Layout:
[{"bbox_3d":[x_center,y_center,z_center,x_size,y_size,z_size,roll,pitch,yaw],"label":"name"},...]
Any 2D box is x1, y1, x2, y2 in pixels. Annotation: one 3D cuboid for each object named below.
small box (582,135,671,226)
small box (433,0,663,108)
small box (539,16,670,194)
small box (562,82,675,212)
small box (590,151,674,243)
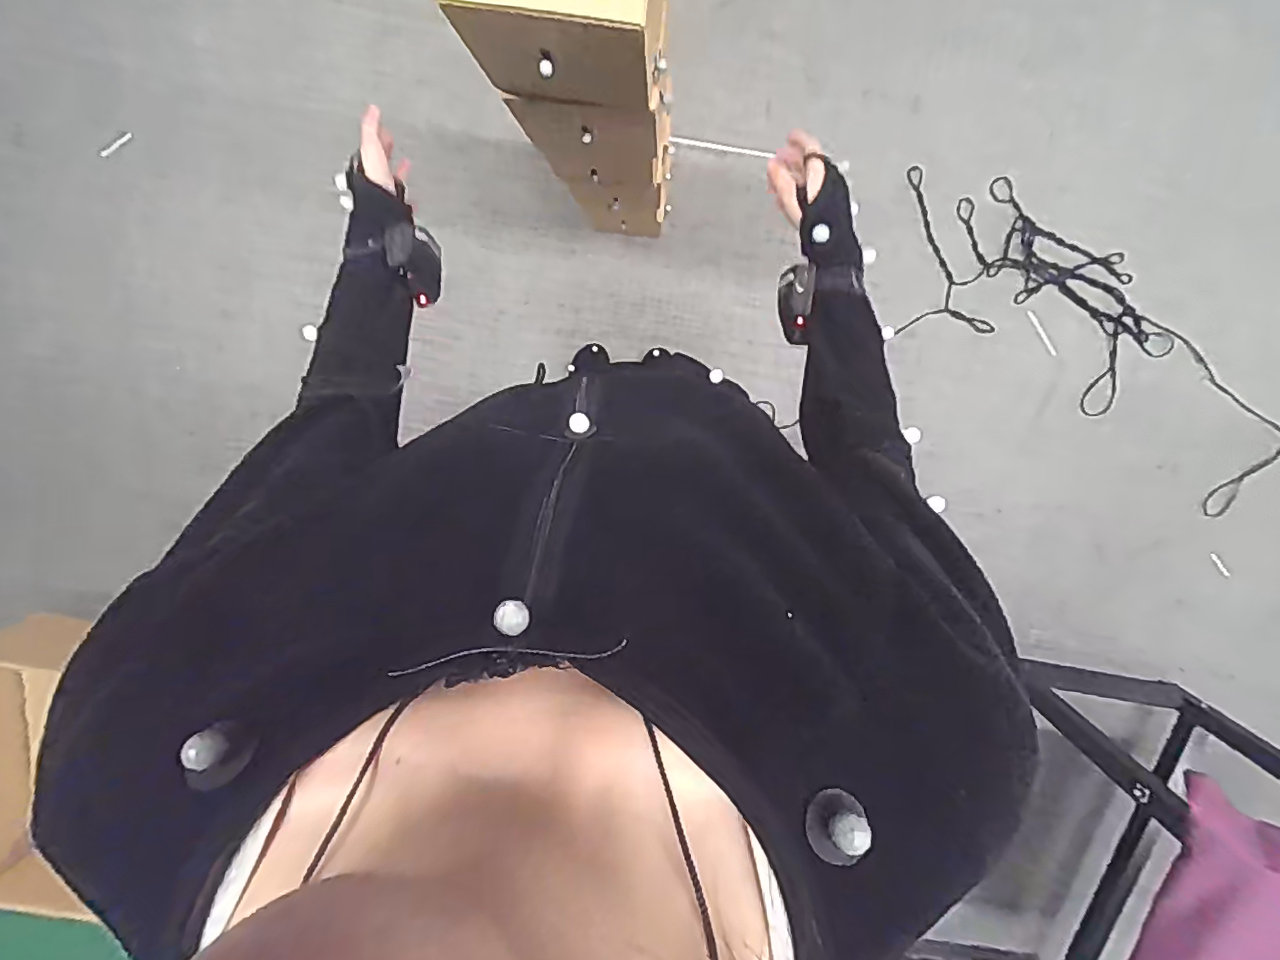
[{"bbox_3d":[-0.034,-0.643,1.126,0.179,0.176,0.168,8,103,0],"label":"small box"},{"bbox_3d":[-0.067,-0.472,0.495,0.179,0.176,0.168,9,104,2],"label":"small box"},{"bbox_3d":[-0.048,-0.556,0.812,0.168,0.176,0.179,6,104,1],"label":"small box"},{"bbox_3d":[-0.036,-0.593,0.970,0.179,0.176,0.168,6,103,0],"label":"small box"},{"bbox_3d":[-0.018,-0.675,1.286,0.179,0.176,0.168,8,102,0],"label":"small box"}]
